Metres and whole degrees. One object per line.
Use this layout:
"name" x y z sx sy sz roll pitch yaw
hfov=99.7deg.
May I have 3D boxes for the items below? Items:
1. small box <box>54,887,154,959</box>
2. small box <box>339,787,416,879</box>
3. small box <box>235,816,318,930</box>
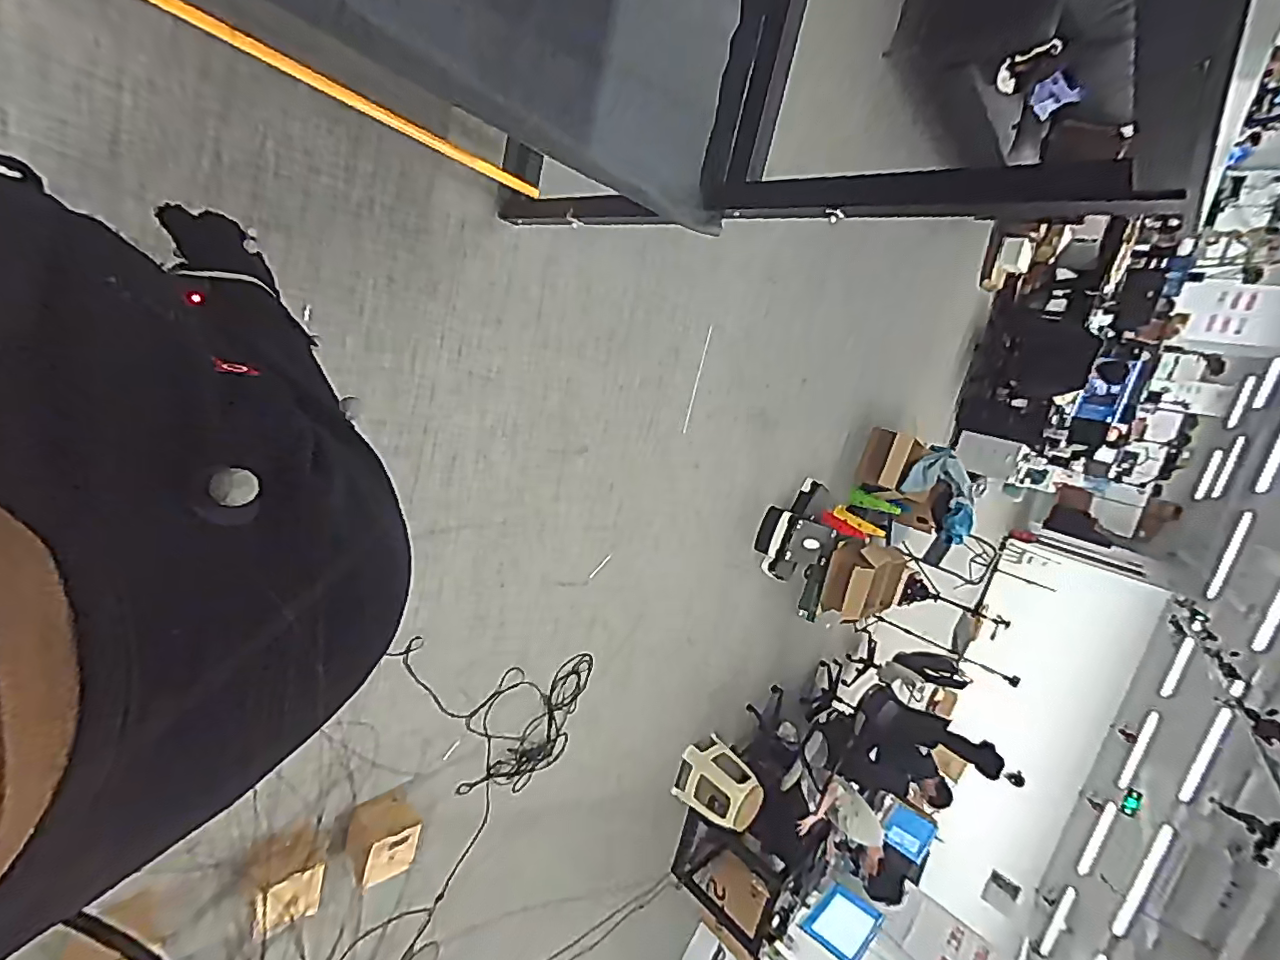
"small box" -1.315 1.151 1.325 0.168 0.176 0.179 -2 109 -47
"small box" -0.885 1.168 1.813 0.168 0.176 0.179 8 103 -50
"small box" -1.075 1.148 1.594 0.168 0.176 0.179 0 107 -48
